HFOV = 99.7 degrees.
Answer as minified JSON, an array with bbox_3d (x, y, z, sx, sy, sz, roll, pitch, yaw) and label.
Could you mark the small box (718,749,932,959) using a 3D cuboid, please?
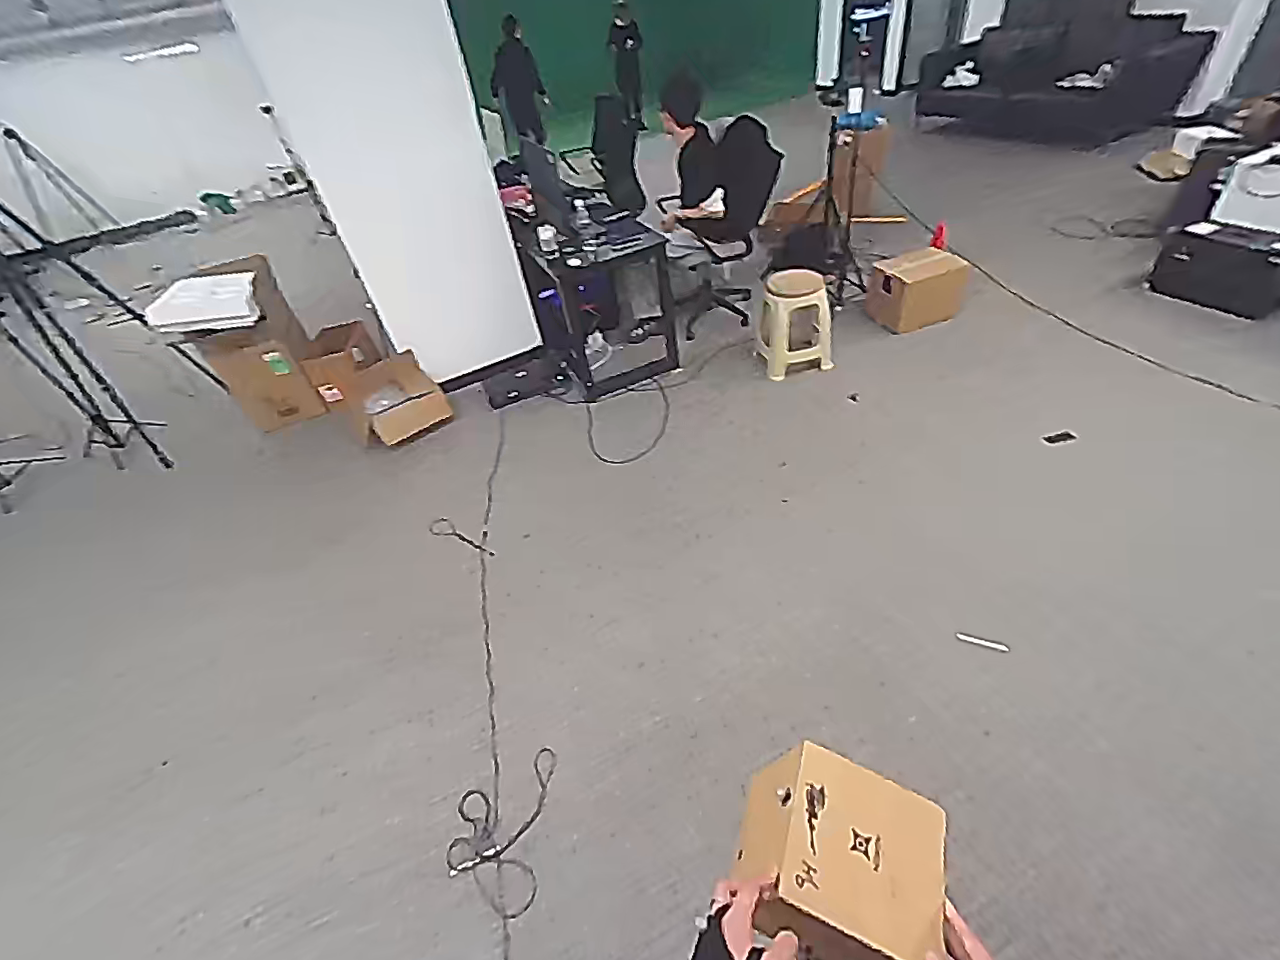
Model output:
[{"bbox_3d":[0.217,0.461,0.647,0.179,0.176,0.168,25,46,6],"label":"small box"}]
